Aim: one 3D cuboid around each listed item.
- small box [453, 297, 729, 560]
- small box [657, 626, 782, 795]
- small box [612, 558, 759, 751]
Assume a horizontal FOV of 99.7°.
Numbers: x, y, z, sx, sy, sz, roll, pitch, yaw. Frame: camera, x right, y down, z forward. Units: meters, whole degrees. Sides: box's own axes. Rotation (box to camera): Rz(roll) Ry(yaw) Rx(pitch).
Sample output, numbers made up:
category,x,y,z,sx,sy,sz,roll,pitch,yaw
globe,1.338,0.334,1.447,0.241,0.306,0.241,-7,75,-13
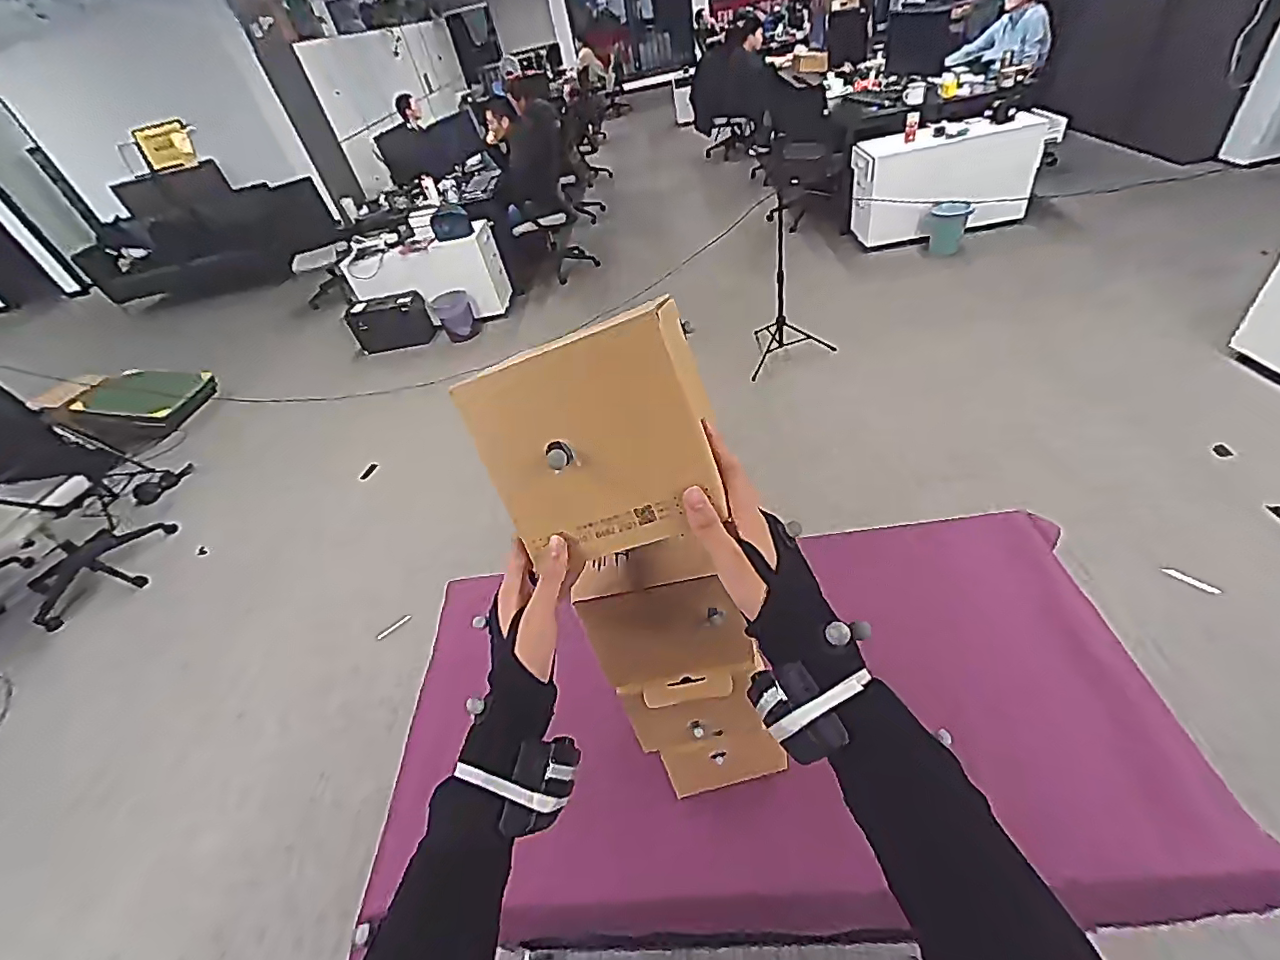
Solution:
category,x,y,z,sx,sy,sz,roll,pitch,yaw
small box,-0.024,-0.045,0.476,0.168,0.176,0.179,-17,18,13
small box,0.111,0.358,0.833,0.179,0.176,0.168,-14,42,-1
small box,0.060,0.236,0.732,0.168,0.176,0.179,-12,41,4
